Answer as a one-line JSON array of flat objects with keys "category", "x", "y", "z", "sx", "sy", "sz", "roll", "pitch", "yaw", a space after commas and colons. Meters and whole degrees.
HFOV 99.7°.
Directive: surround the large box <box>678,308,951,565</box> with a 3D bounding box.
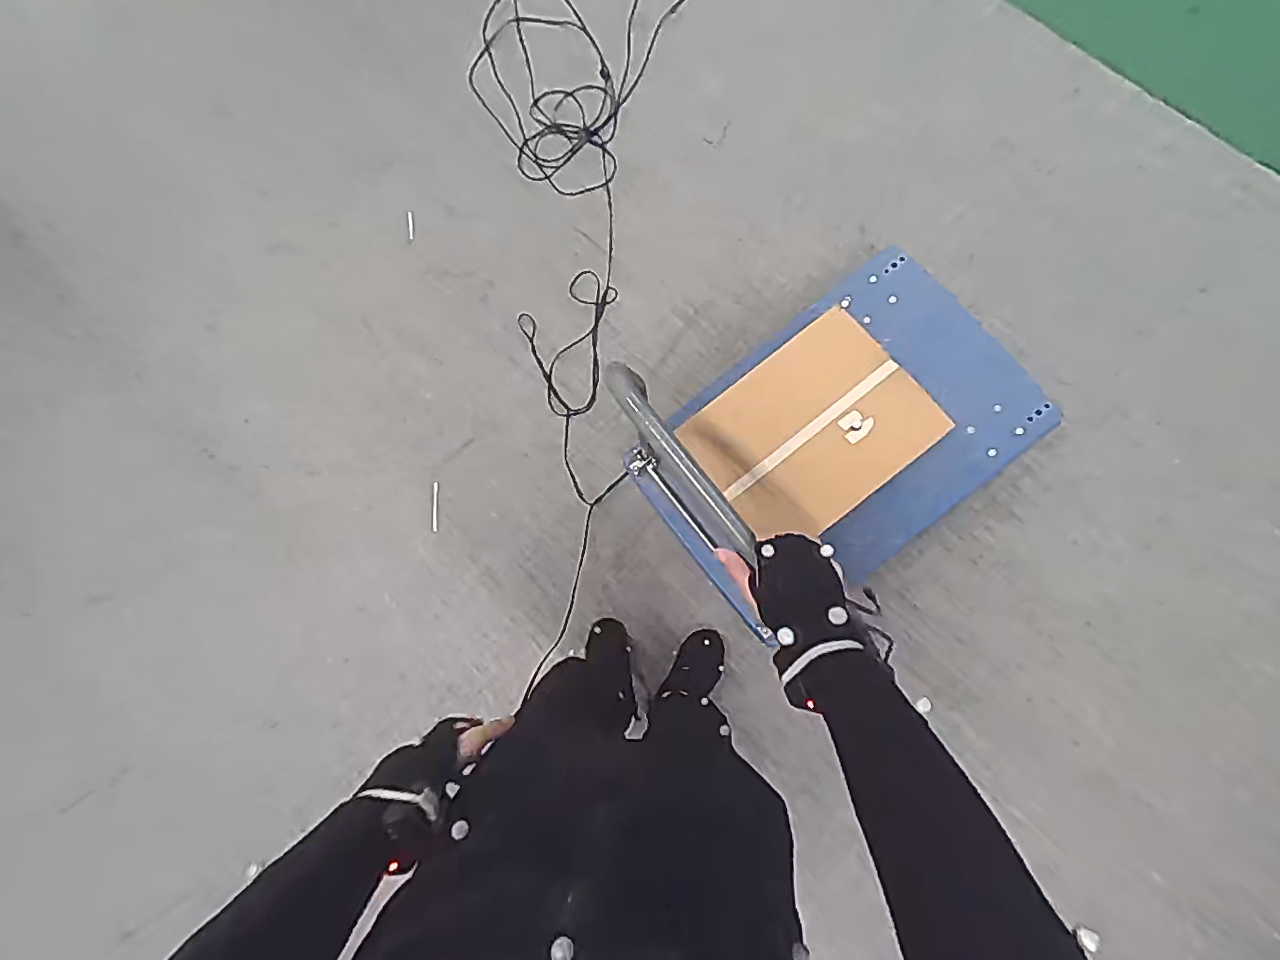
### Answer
[{"category": "large box", "x": 0.330, "y": -0.065, "z": 1.138, "sx": 0.408, "sy": 0.320, "sz": 0.320, "roll": -38, "pitch": 80, "yaw": -1}]
